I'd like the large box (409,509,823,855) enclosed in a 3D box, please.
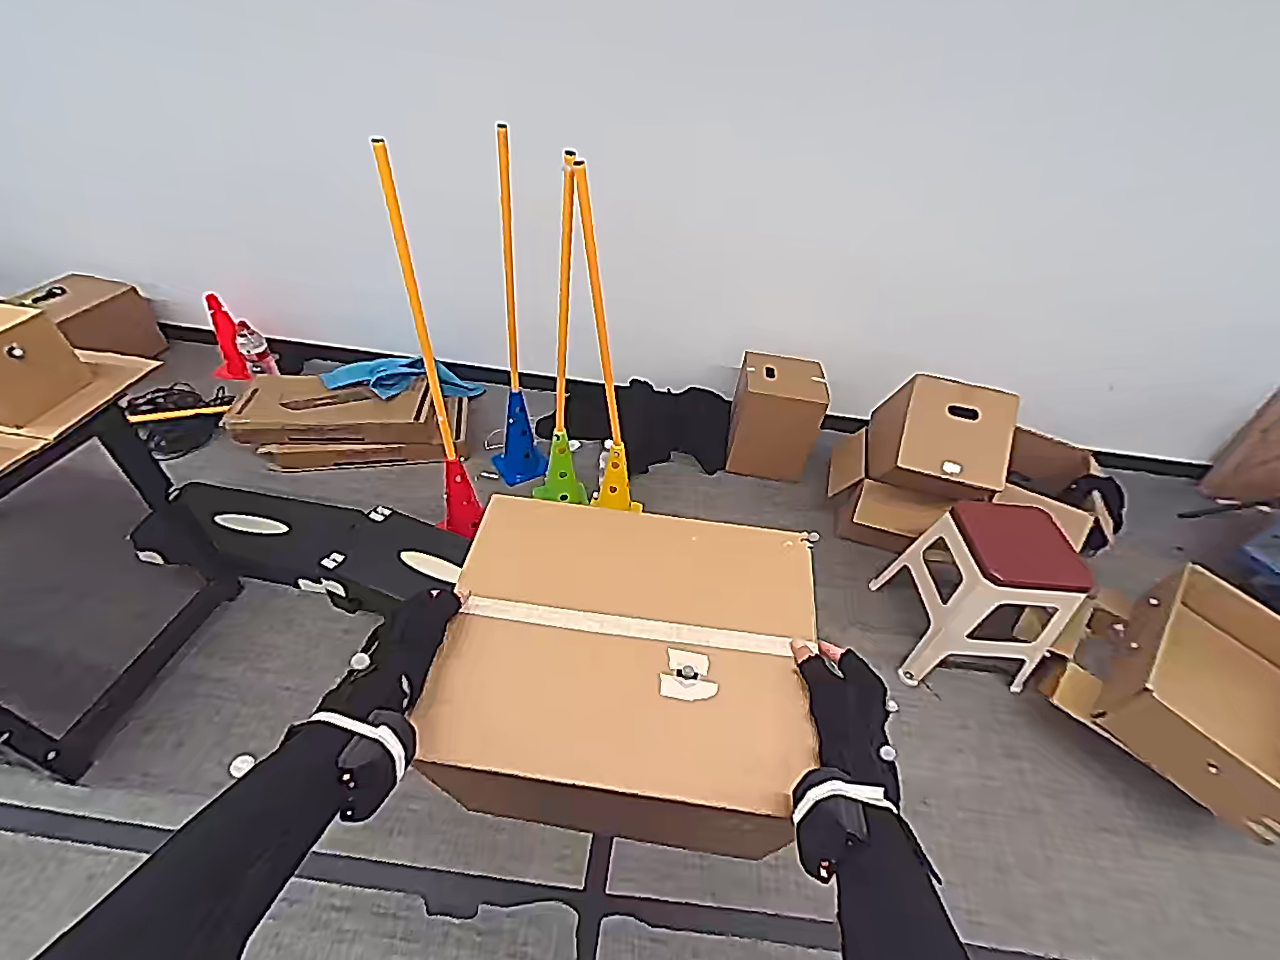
[{"bbox_3d":[-0.017,0.269,0.715,0.408,0.320,0.320,7,50,3],"label":"large box"}]
